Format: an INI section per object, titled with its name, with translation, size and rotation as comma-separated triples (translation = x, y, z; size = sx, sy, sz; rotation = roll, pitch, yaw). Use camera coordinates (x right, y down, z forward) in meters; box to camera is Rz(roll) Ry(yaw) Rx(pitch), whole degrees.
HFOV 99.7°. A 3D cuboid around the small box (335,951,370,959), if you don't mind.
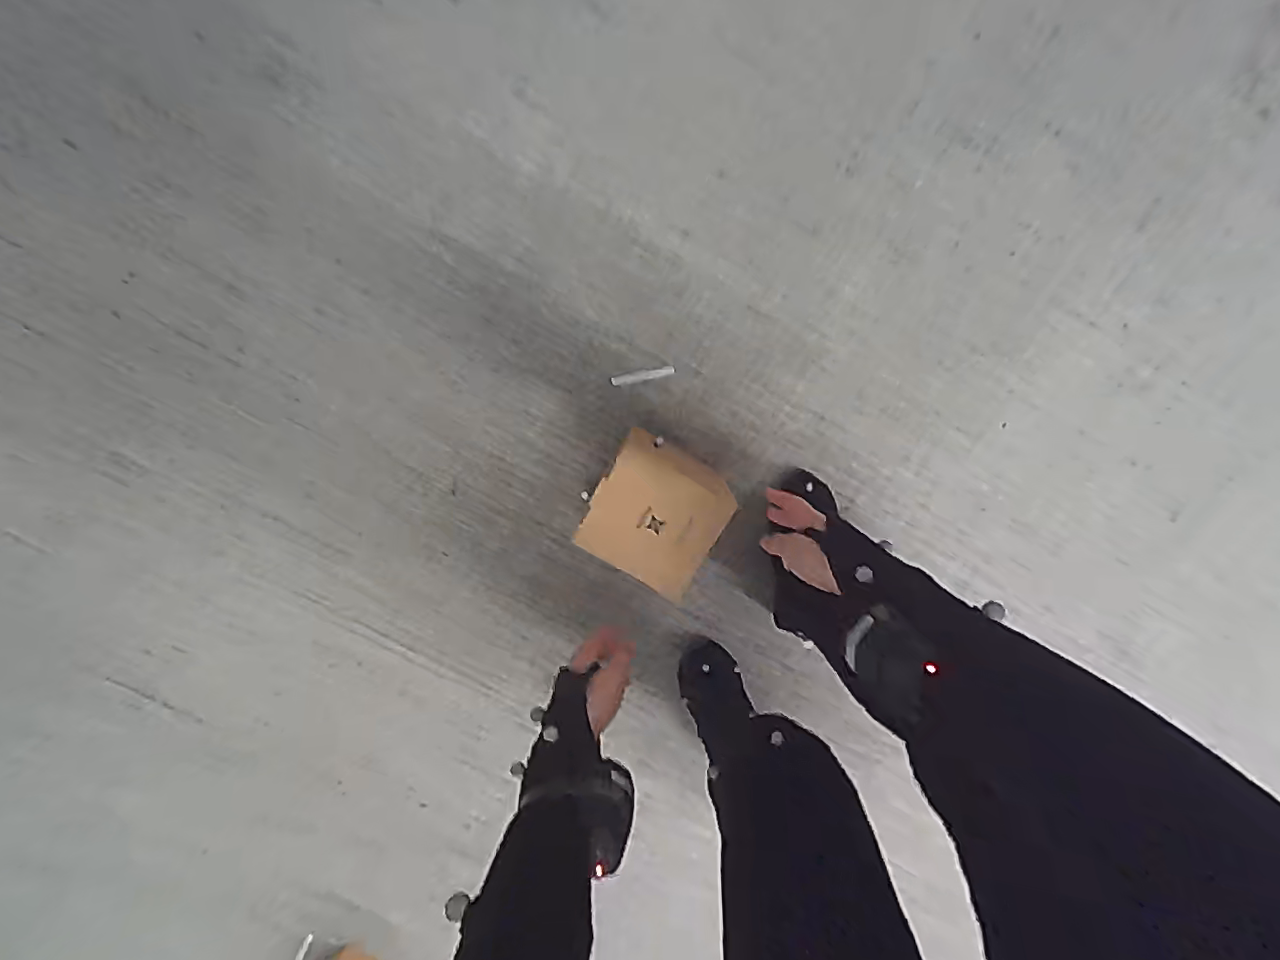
[small box]
translation = -0.608, 1.121, 1.096
size = 0.179, 0.176, 0.168
rotation = 41, 102, -8
